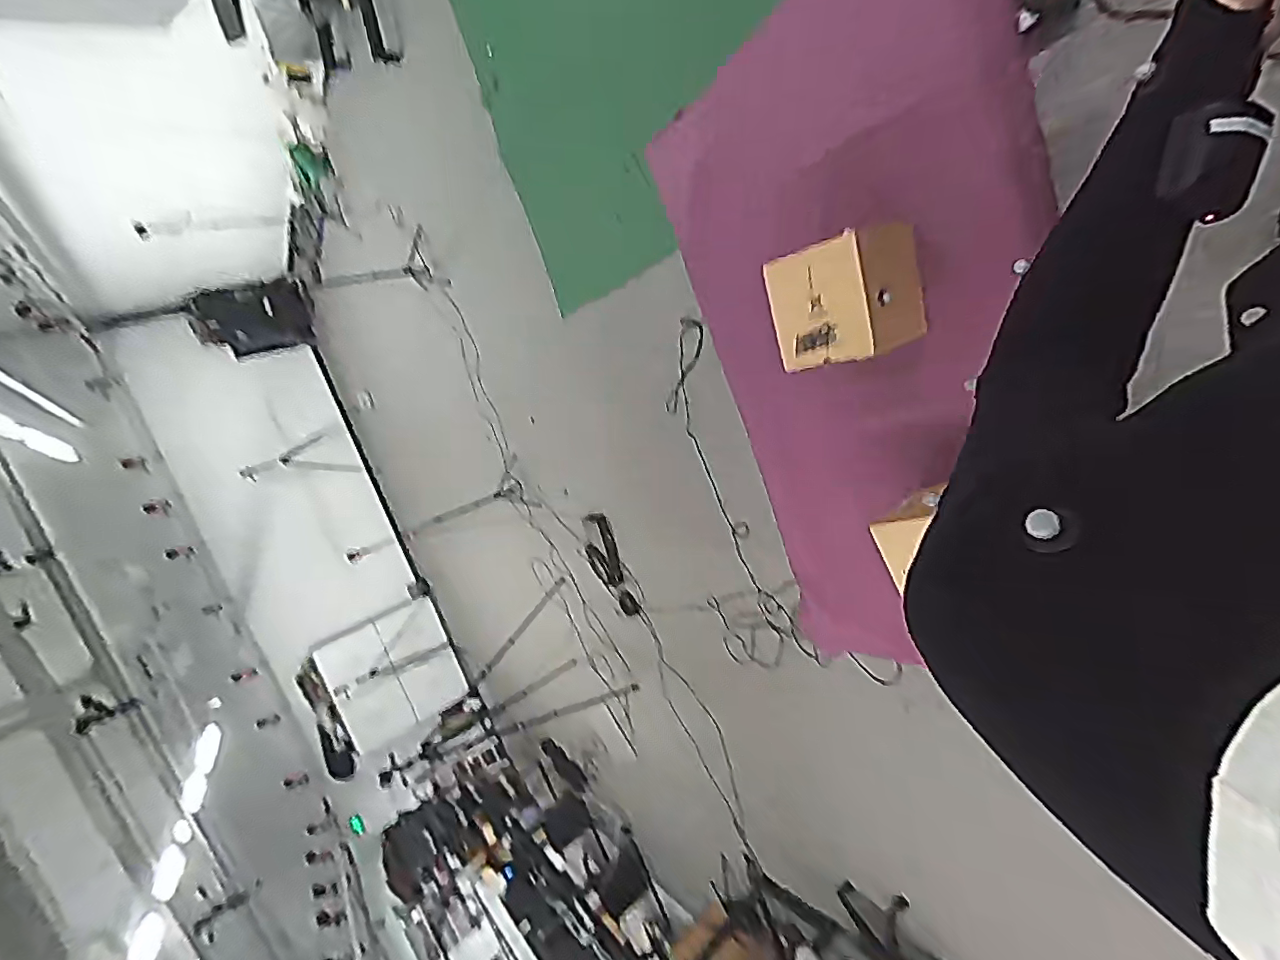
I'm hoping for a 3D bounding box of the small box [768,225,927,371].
[{"bbox_3d":[0.341,-0.292,0.879,0.168,0.176,0.179,2,112,53],"label":"small box"}]
